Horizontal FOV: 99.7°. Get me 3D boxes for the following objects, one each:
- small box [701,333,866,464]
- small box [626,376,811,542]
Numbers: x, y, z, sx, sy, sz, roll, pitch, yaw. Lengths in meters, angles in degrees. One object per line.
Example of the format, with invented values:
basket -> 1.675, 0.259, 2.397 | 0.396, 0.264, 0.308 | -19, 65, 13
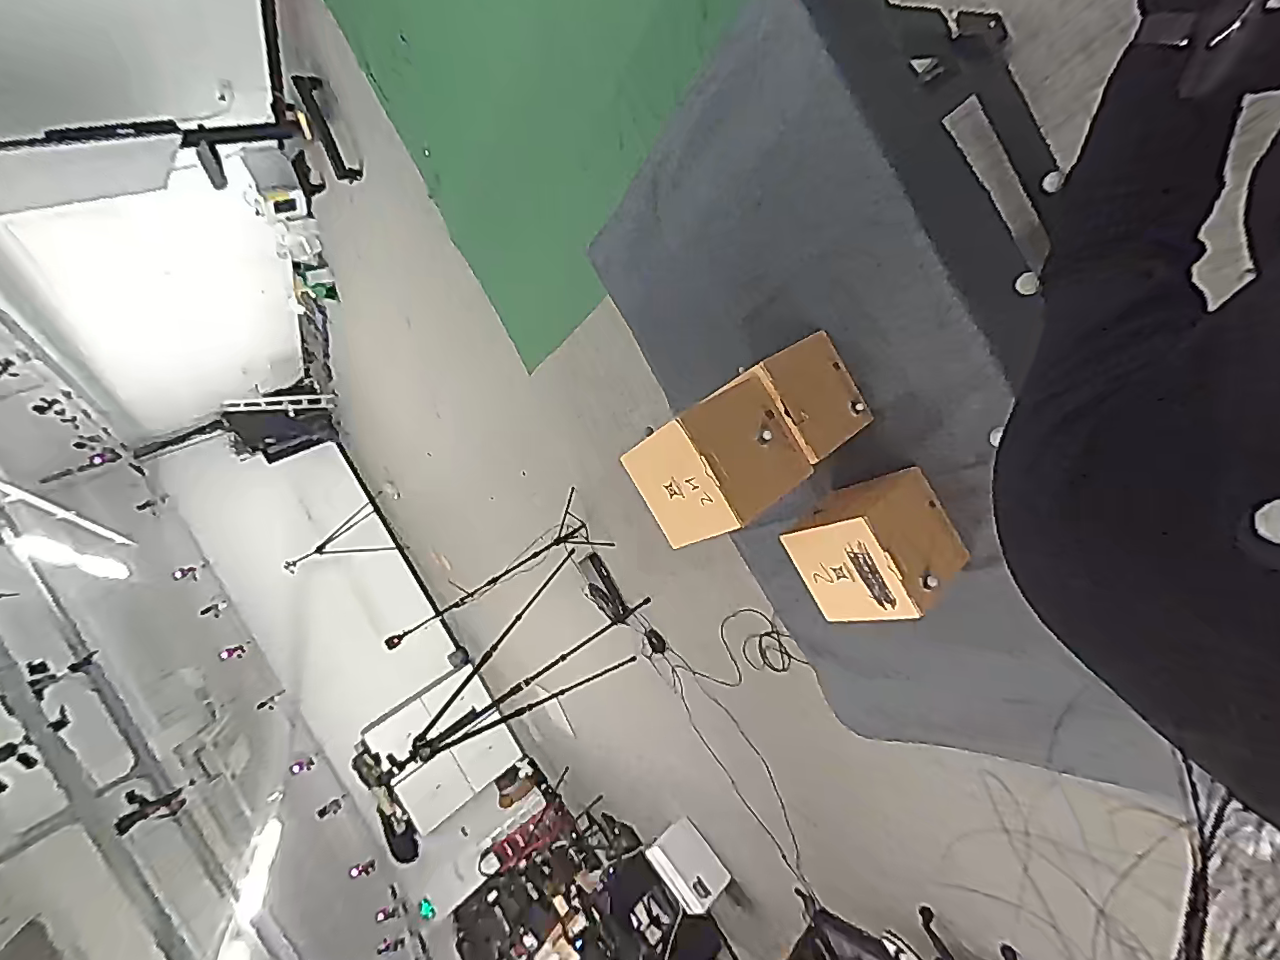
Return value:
small box -> 0.236, -0.114, 0.880 | 0.168, 0.176, 0.179 | 60, 149, -1
small box -> 0.116, -0.029, 0.807 | 0.168, 0.176, 0.179 | 59, 148, 0
